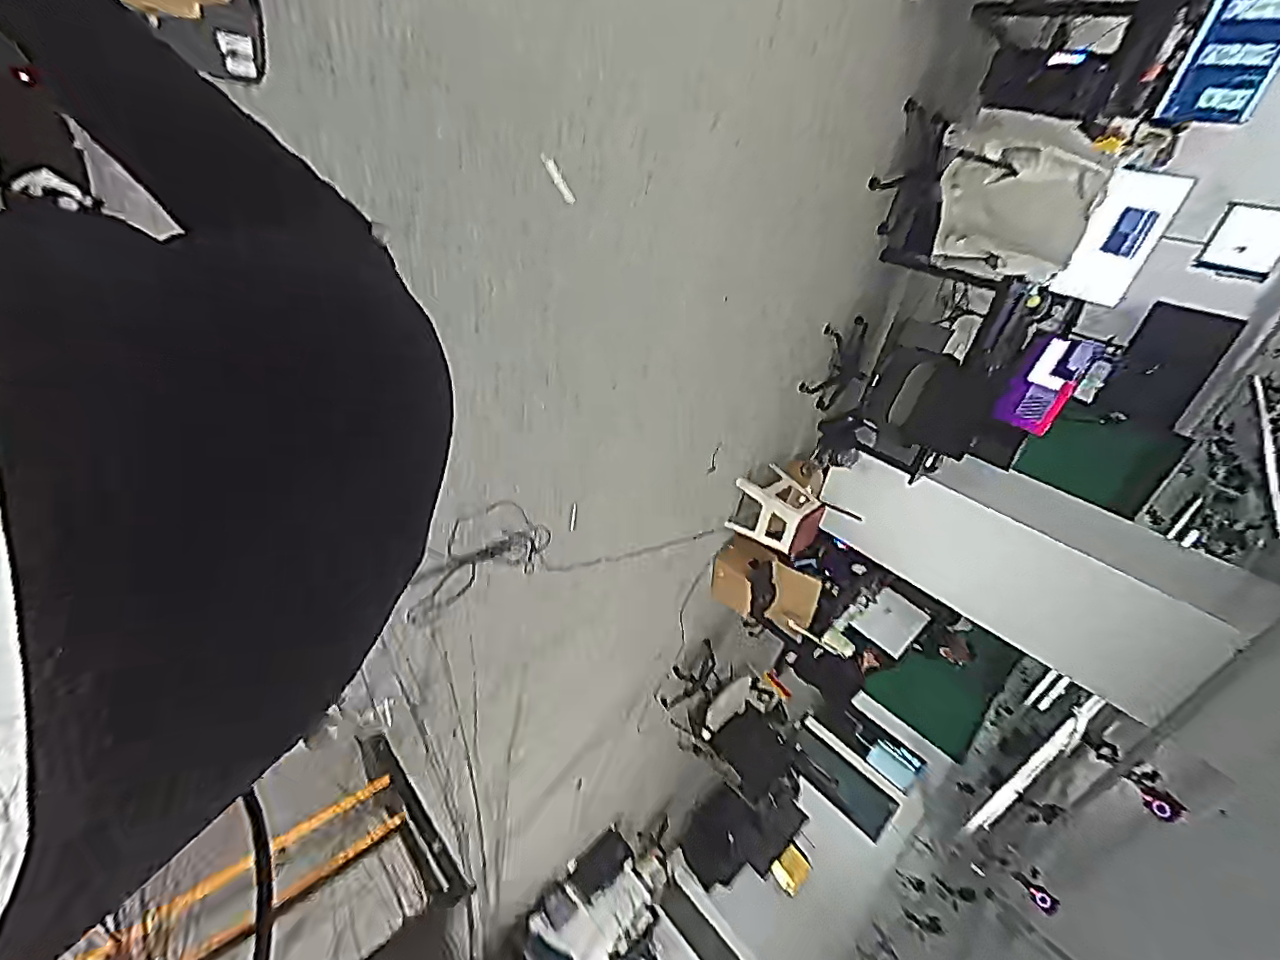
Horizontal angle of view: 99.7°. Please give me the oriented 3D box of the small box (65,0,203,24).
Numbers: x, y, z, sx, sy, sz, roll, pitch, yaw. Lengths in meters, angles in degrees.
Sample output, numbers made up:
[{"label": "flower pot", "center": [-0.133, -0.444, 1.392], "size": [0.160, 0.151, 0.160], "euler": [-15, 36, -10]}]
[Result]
[{"label": "small box", "center": [-0.699, -0.701, 0.681], "size": [0.179, 0.176, 0.168], "euler": [-22, 133, -40]}]

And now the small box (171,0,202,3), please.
[{"label": "small box", "center": [-0.582, -0.644, 0.581], "size": [0.179, 0.176, 0.168], "euler": [-19, 131, -42]}]
